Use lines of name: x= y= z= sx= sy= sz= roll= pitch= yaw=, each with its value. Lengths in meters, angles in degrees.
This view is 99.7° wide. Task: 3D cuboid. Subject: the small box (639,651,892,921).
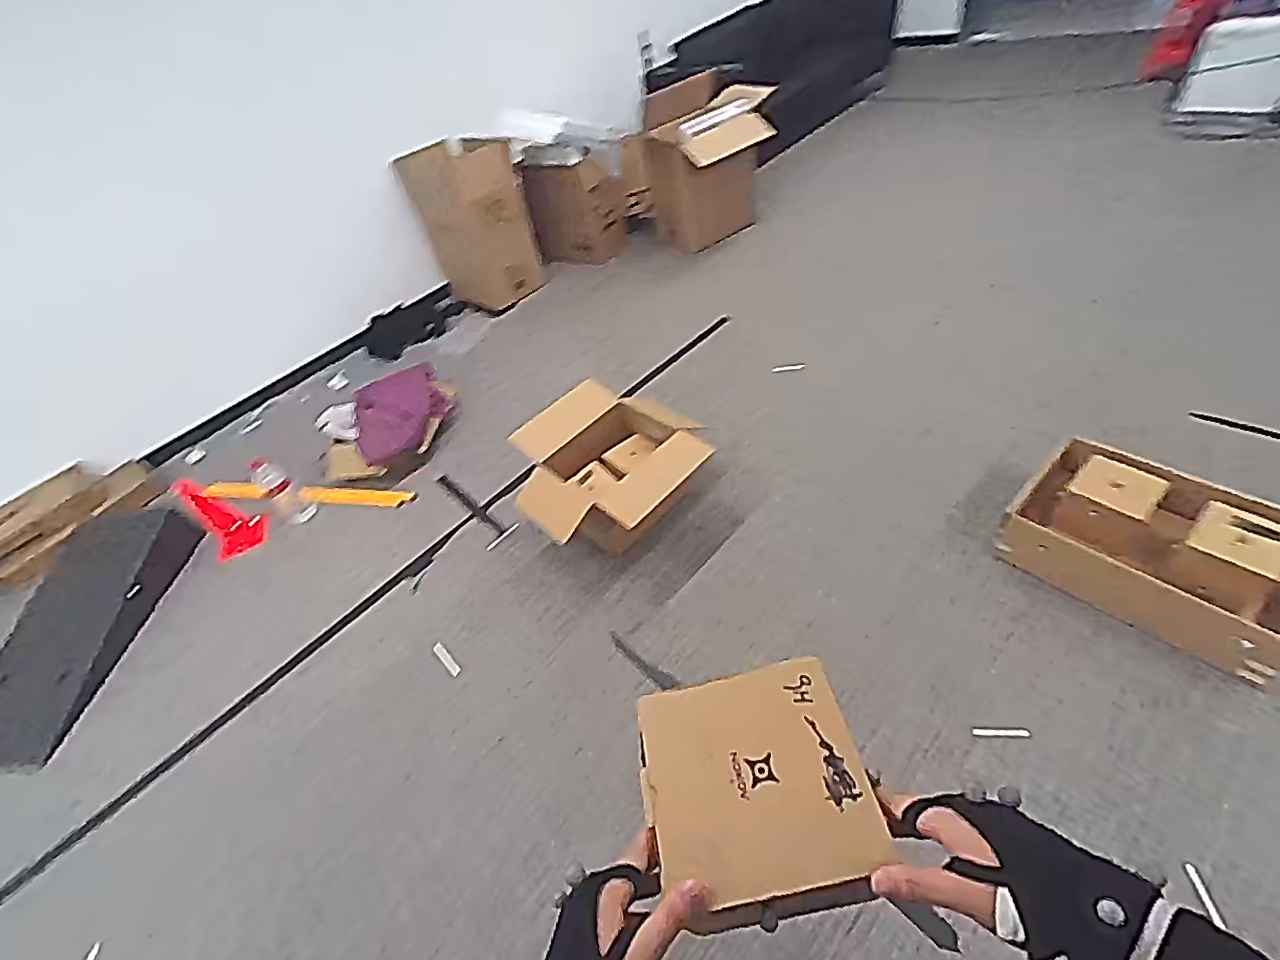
small box: x=0.110 y=0.290 z=0.508 sx=0.179 sy=0.176 sz=0.168 roll=-14 pitch=45 yaw=4

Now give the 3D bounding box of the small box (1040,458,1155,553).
small box: x=1.282 y=0.075 z=1.529 sx=0.168 sy=0.176 sz=0.179 roll=-39 pitch=51 yaw=-19
